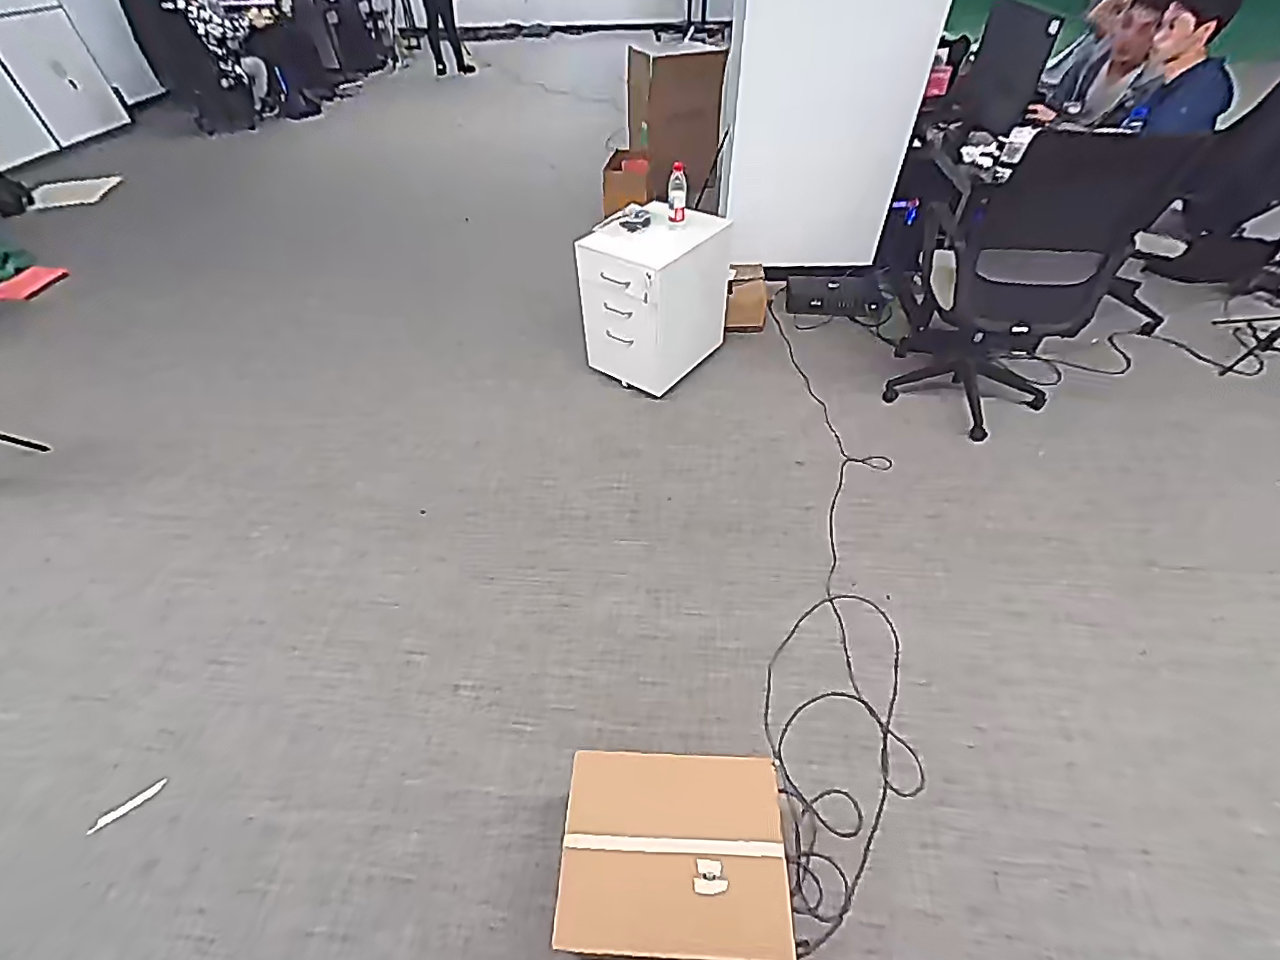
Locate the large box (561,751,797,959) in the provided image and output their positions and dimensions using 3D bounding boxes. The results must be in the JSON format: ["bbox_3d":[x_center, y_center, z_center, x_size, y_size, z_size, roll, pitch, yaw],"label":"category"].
[{"bbox_3d":[0.071,0.774,1.108,0.408,0.320,0.320,1,47,3],"label":"large box"}]
